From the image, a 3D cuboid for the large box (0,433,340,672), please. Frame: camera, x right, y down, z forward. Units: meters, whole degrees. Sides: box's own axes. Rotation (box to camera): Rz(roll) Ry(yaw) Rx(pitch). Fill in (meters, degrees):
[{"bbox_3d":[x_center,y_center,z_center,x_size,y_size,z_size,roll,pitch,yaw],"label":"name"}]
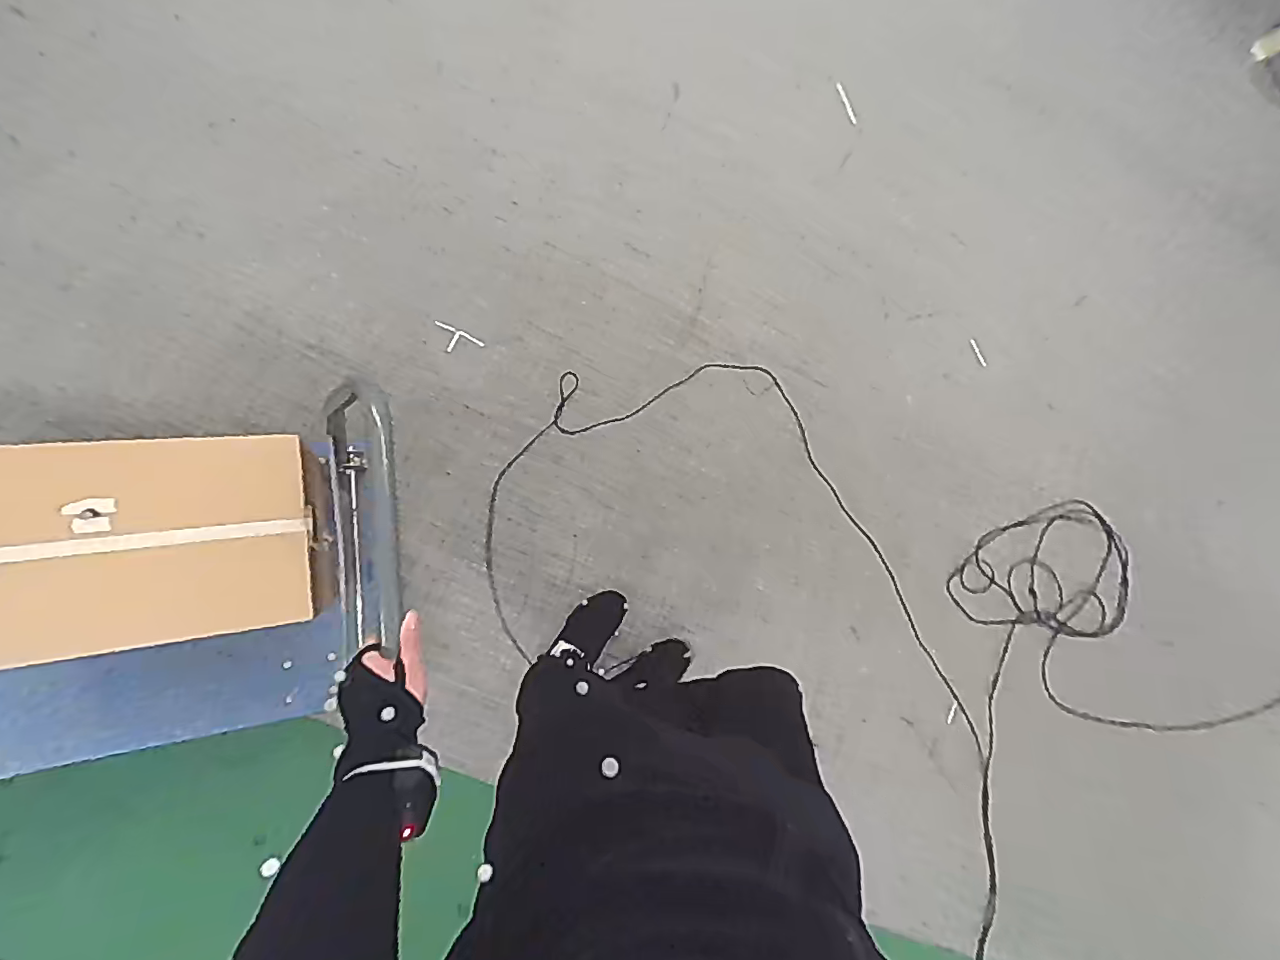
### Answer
[{"bbox_3d":[-0.785,0.106,0.953,0.408,0.320,0.320,-6,85,-24],"label":"large box"}]
